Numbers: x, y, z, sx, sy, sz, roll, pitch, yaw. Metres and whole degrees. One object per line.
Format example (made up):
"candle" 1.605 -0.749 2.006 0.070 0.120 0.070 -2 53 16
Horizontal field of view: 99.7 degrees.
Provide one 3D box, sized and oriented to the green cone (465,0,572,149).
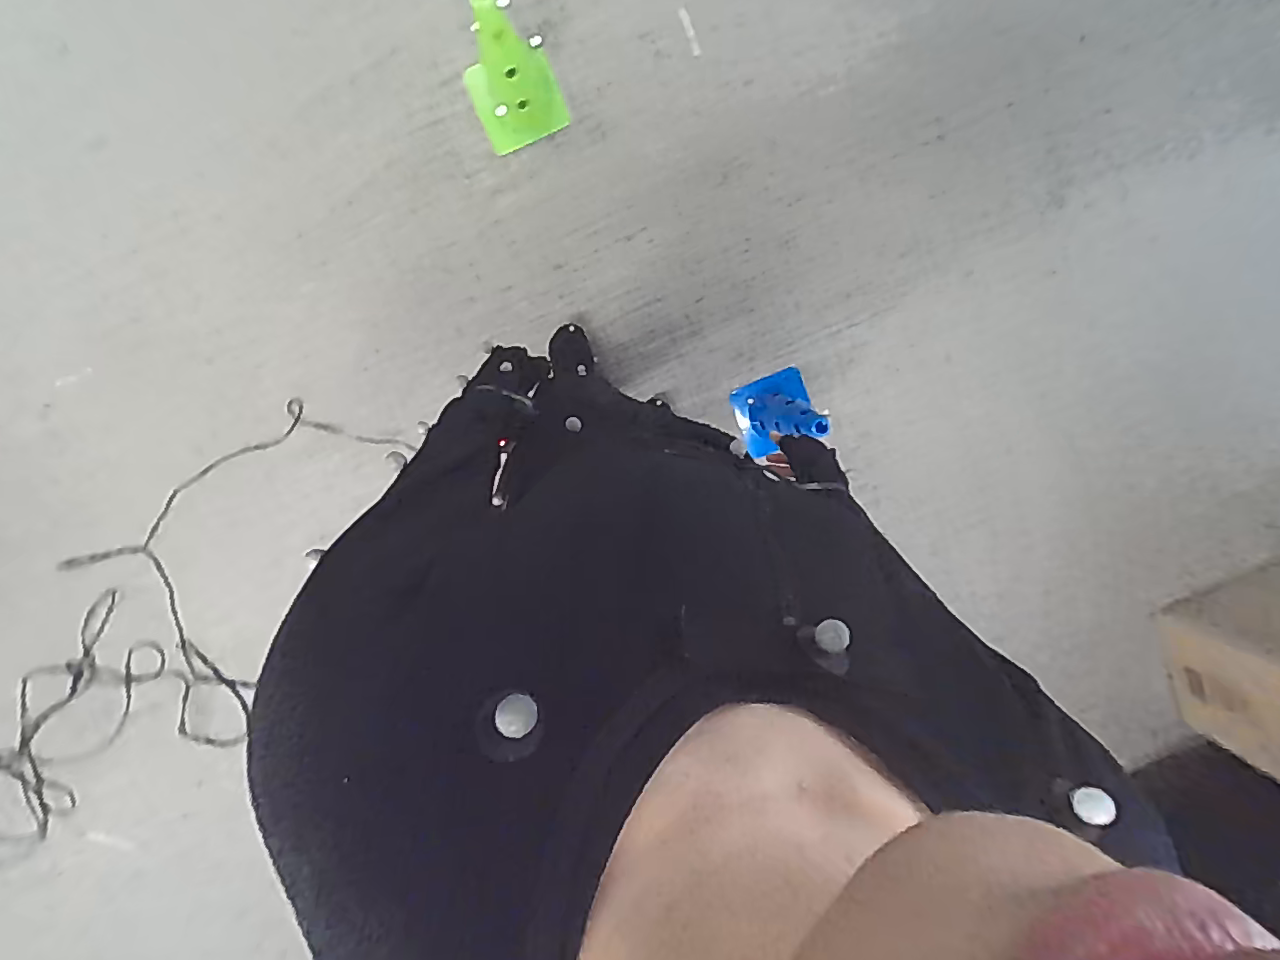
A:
"green cone" -0.278 -0.875 1.097 0.200 0.368 0.202 -24 102 3
